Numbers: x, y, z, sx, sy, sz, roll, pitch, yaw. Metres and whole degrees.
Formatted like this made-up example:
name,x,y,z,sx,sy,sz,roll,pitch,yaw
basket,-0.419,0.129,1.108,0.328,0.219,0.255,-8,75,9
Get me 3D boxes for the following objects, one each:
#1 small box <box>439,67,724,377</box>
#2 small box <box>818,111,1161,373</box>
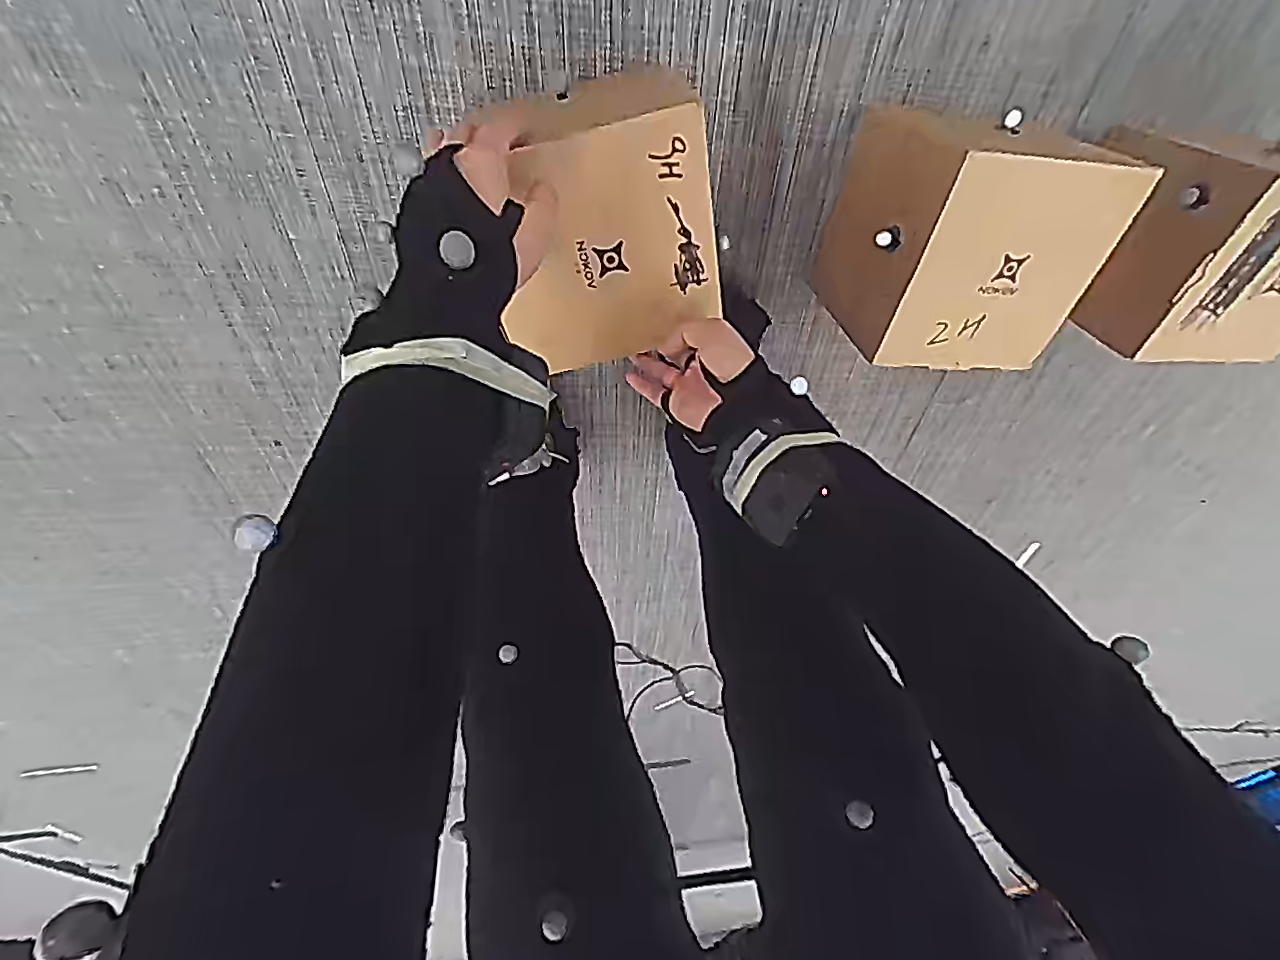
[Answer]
name,x,y,z,sx,sy,sz,roll,pitch,yaw
small box,-0.038,-0.215,0.451,0.179,0.176,0.168,-13,135,4
small box,0.288,-0.219,0.500,0.168,0.176,0.179,0,134,-9
